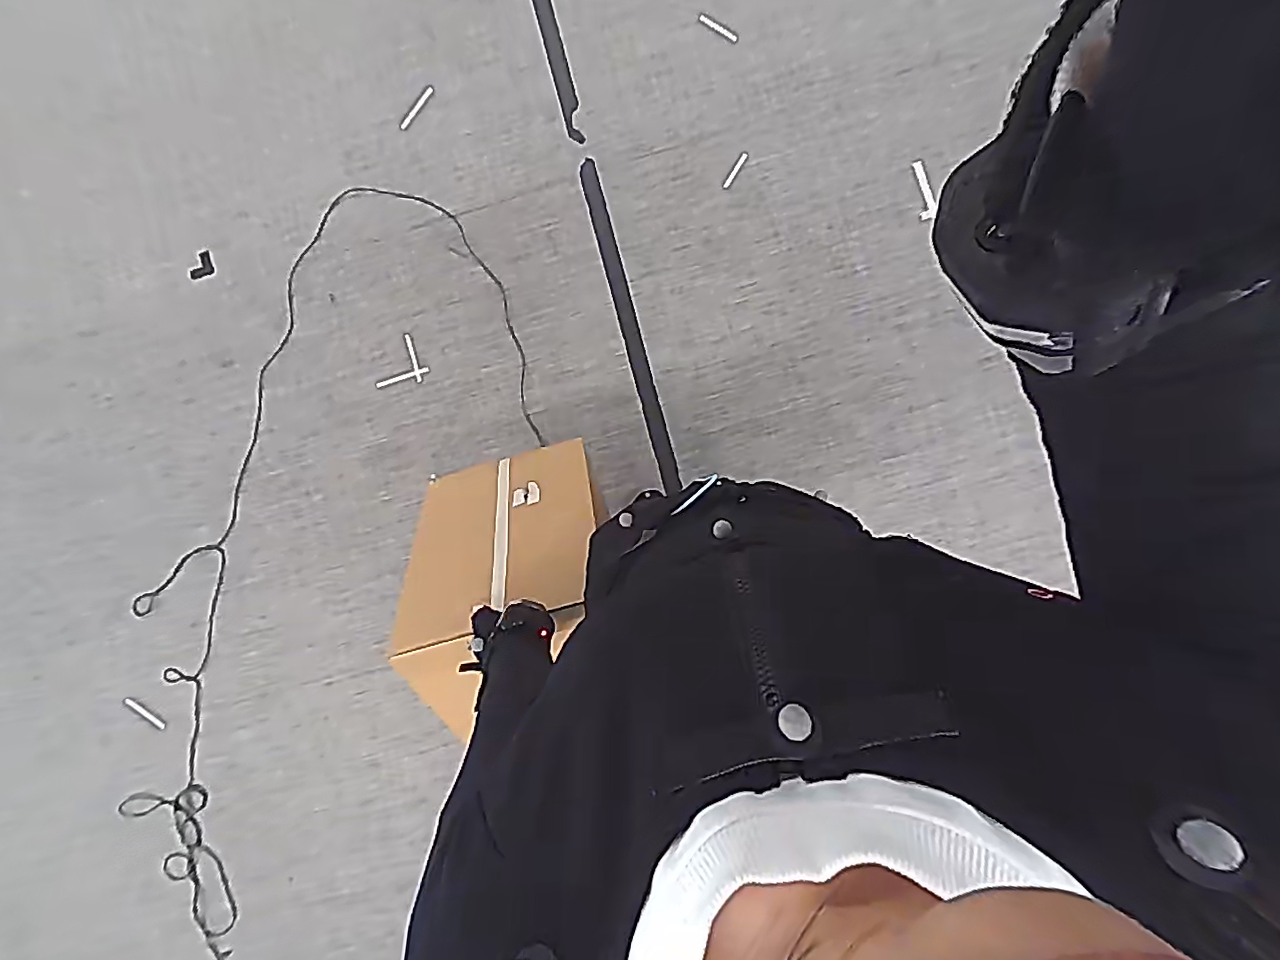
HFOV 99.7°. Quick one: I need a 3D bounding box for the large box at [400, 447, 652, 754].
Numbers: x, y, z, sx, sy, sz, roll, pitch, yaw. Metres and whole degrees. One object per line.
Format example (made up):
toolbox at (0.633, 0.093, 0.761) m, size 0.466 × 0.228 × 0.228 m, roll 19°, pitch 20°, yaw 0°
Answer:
large box at (-0.190, 0.205, 0.991) m, size 0.320 × 0.408 × 0.320 m, roll -15°, pitch 127°, yaw 0°
